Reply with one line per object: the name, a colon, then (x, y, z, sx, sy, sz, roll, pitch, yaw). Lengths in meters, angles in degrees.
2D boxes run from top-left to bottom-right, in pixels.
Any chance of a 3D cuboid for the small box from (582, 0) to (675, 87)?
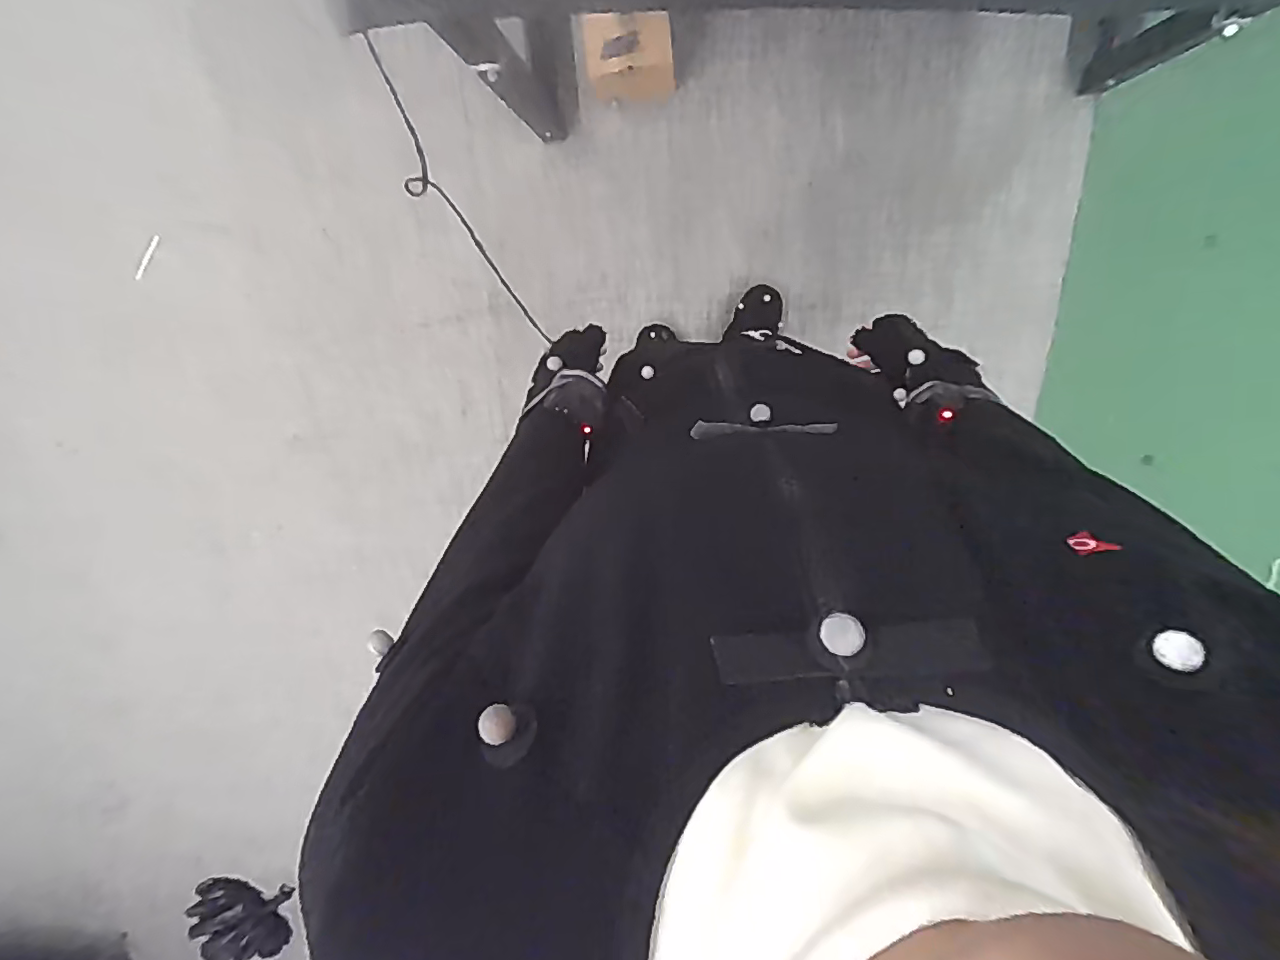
small box: (-0.018, -0.909, 1.072, 0.168, 0.176, 0.179, -4, 109, 6)
